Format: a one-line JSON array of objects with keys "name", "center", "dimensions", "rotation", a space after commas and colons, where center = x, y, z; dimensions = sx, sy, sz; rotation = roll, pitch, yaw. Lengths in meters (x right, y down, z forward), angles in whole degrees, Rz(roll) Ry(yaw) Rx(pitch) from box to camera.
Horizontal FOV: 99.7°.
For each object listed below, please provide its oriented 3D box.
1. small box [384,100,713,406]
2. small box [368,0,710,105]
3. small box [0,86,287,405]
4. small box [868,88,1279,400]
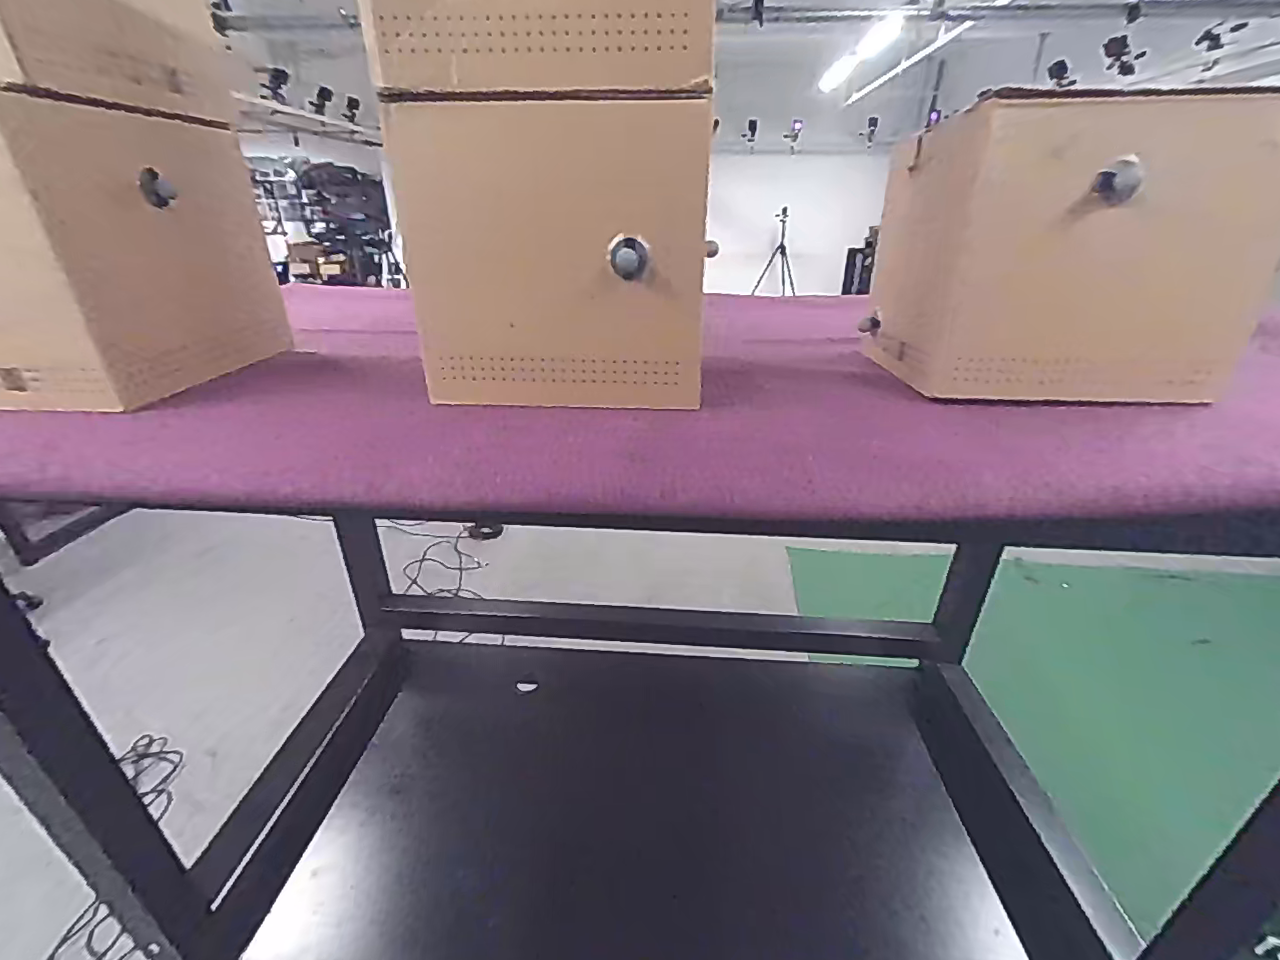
[{"name": "small box", "center": [-0.045, -0.154, 0.386], "dimensions": [0.179, 0.176, 0.168], "rotation": [1, 25, 3]}, {"name": "small box", "center": [-0.050, -0.302, 0.318], "dimensions": [0.179, 0.176, 0.168], "rotation": [1, 25, 1]}, {"name": "small box", "center": [-0.387, -0.156, 0.375], "dimensions": [0.168, 0.176, 0.179], "rotation": [2, 26, 1]}, {"name": "small box", "center": [0.279, -0.158, 0.391], "dimensions": [0.179, 0.176, 0.168], "rotation": [3, 24, 5]}]
